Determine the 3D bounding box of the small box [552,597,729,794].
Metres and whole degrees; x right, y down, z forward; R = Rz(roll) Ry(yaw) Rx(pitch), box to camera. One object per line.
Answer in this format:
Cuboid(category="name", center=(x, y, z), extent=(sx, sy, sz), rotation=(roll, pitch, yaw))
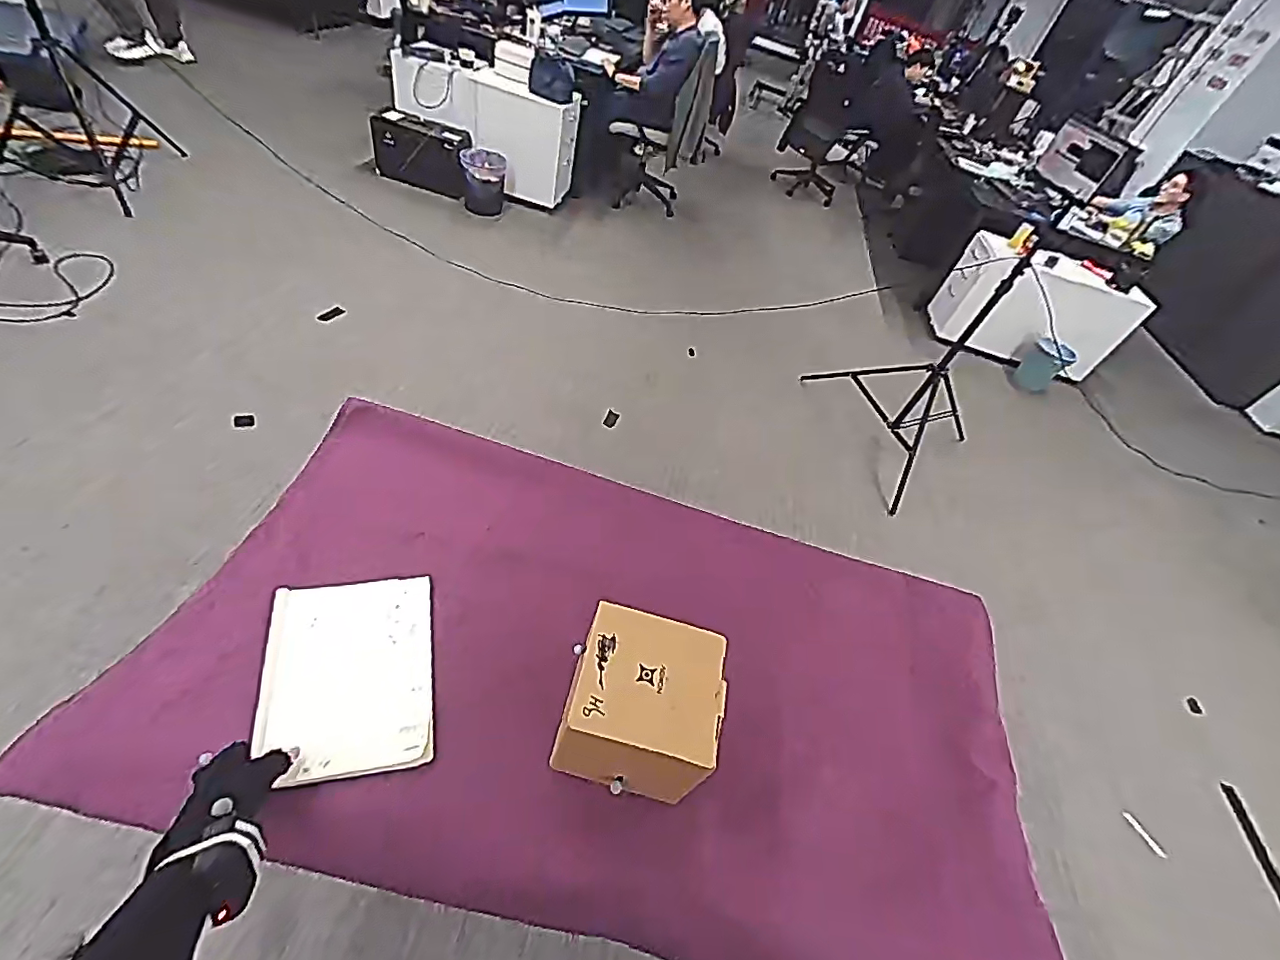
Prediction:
Cuboid(category="small box", center=(-0.001, 0.285, 0.702), extent=(0.179, 0.176, 0.168), rotation=(18, 45, -2))
